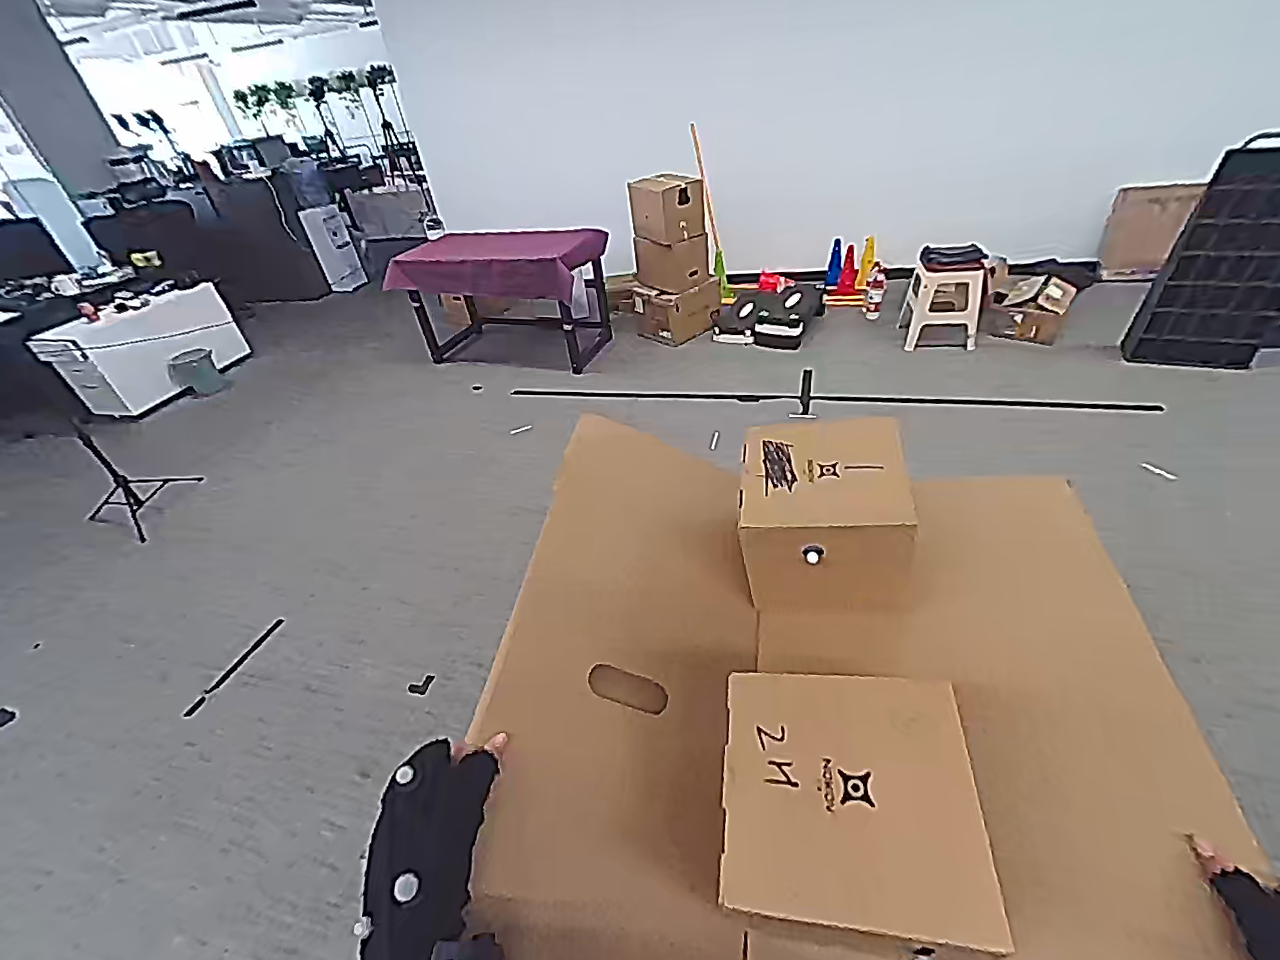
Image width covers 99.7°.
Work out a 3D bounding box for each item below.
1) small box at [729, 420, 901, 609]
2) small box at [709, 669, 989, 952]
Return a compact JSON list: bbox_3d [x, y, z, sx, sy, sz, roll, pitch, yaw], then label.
[{"bbox_3d":[0.214,0.047,0.671,0.179,0.176,0.168,-3,46,18],"label":"small box"},{"bbox_3d":[0.165,0.278,0.460,0.179,0.176,0.168,-5,46,18],"label":"small box"}]
